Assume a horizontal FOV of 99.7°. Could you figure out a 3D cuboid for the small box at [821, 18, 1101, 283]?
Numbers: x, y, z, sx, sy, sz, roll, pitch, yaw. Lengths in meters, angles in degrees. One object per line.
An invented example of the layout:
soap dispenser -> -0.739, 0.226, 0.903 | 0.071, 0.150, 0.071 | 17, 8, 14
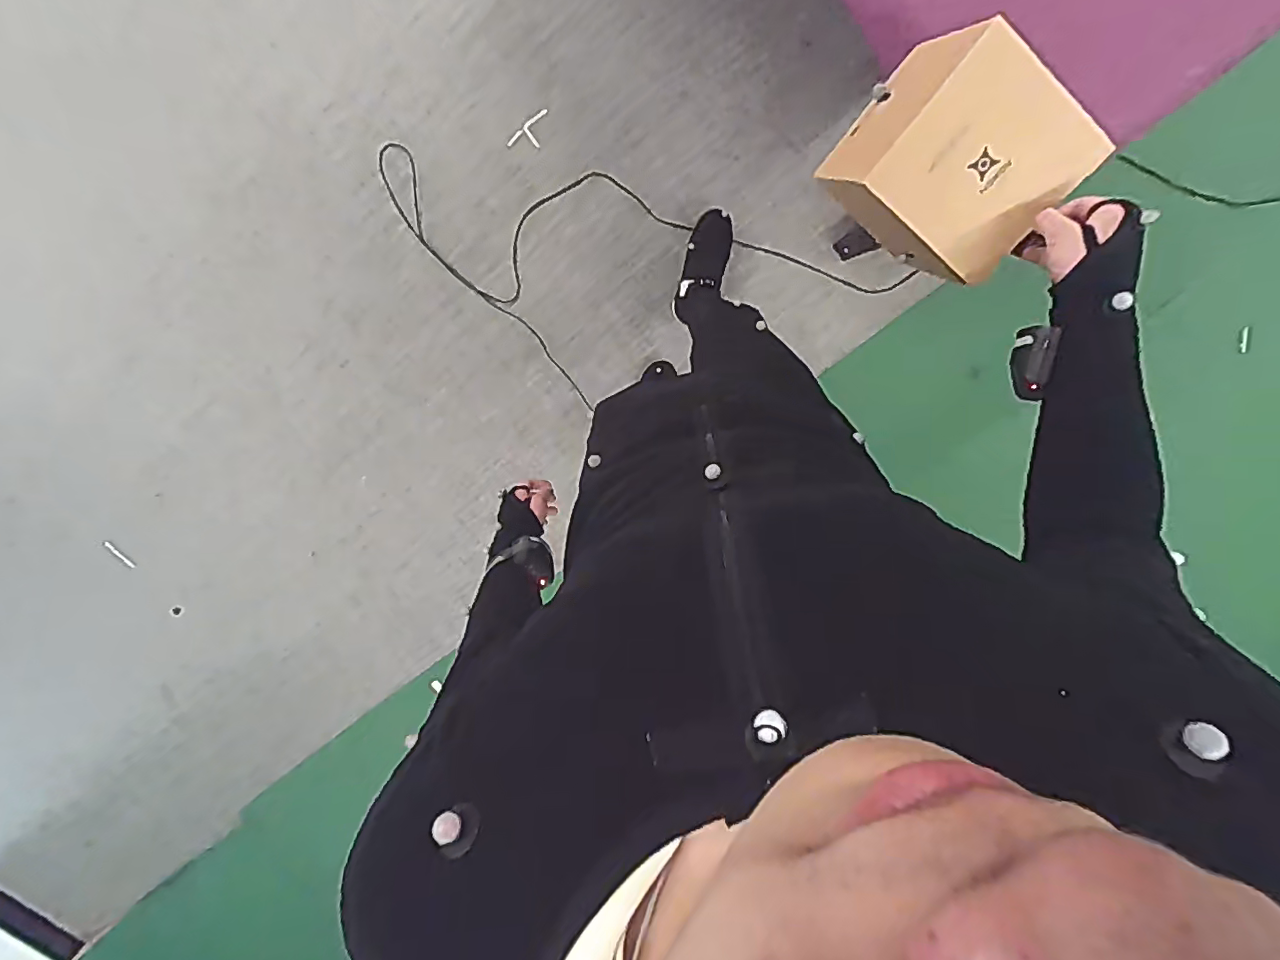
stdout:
small box -> 0.340, -0.357, 0.607 | 0.179, 0.176, 0.168 | 31, 115, -19
